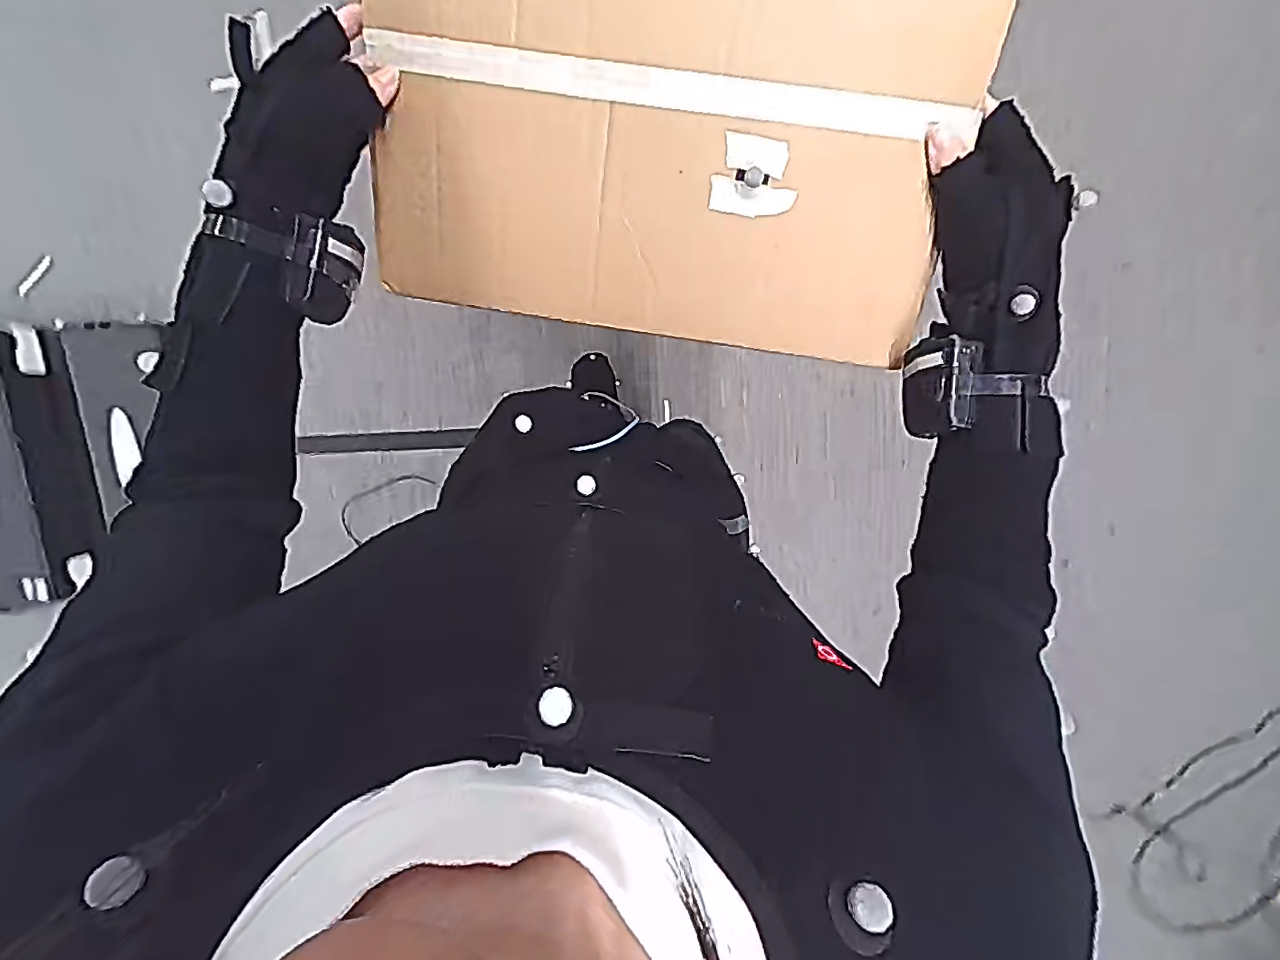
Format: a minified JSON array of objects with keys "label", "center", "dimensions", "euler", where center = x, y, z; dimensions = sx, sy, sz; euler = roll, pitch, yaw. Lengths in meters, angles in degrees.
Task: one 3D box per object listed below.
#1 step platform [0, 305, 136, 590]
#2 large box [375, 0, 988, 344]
[{"label":"step platform","center":[-1.526,-0.075,1.330],"dimensions":[0.286,0.204,0.684],"euler":[-4,98,0]},{"label":"large box","center":[0.024,-0.323,0.505],"dimensions":[0.408,0.320,0.320],"euler":[8,113,1]}]
